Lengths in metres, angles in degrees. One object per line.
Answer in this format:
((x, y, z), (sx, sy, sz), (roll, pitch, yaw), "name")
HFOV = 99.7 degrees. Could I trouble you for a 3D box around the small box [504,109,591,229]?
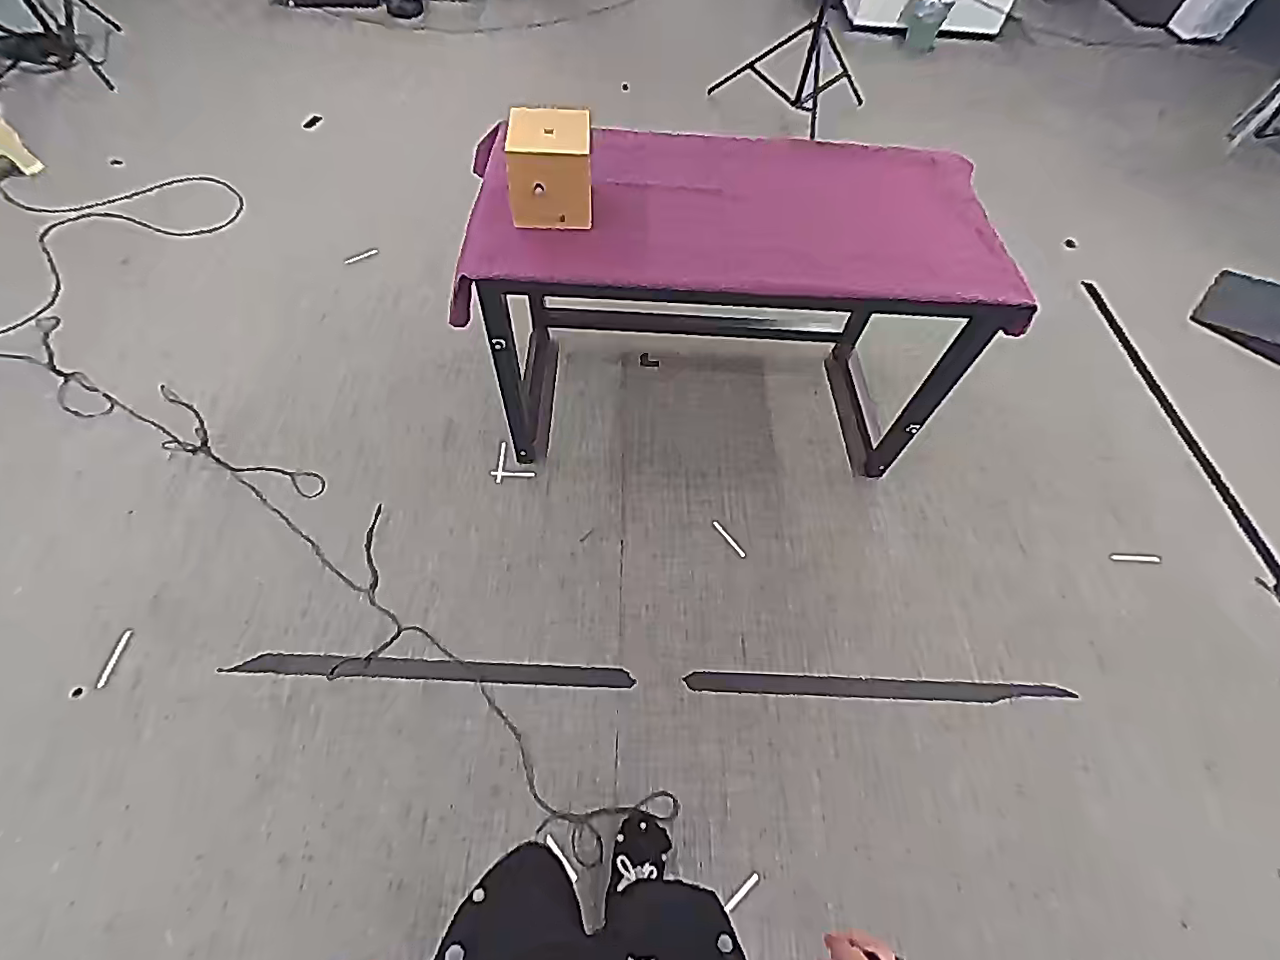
((-0.191, -0.663, 1.162), (0.168, 0.176, 0.179), (-1, 58, -4), "small box")
